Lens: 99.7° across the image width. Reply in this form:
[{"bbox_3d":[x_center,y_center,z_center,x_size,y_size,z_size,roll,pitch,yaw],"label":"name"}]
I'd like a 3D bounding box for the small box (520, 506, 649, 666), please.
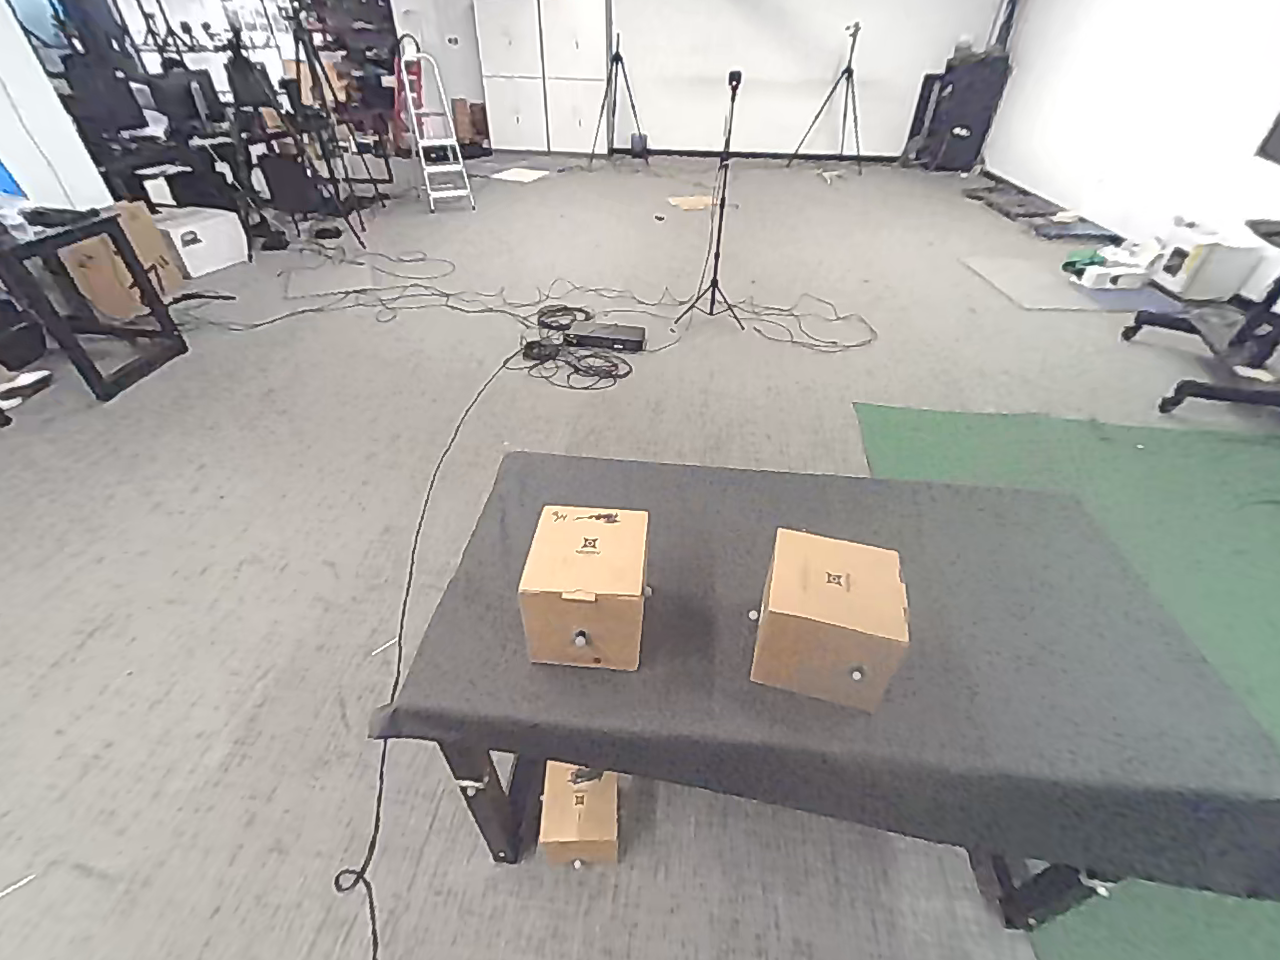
[{"bbox_3d":[-0.074,0.162,0.829,0.168,0.176,0.179,4,38,2],"label":"small box"}]

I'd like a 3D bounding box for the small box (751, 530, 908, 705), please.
[{"bbox_3d":[0.269,0.203,0.795,0.179,0.176,0.168,10,38,12],"label":"small box"}]
